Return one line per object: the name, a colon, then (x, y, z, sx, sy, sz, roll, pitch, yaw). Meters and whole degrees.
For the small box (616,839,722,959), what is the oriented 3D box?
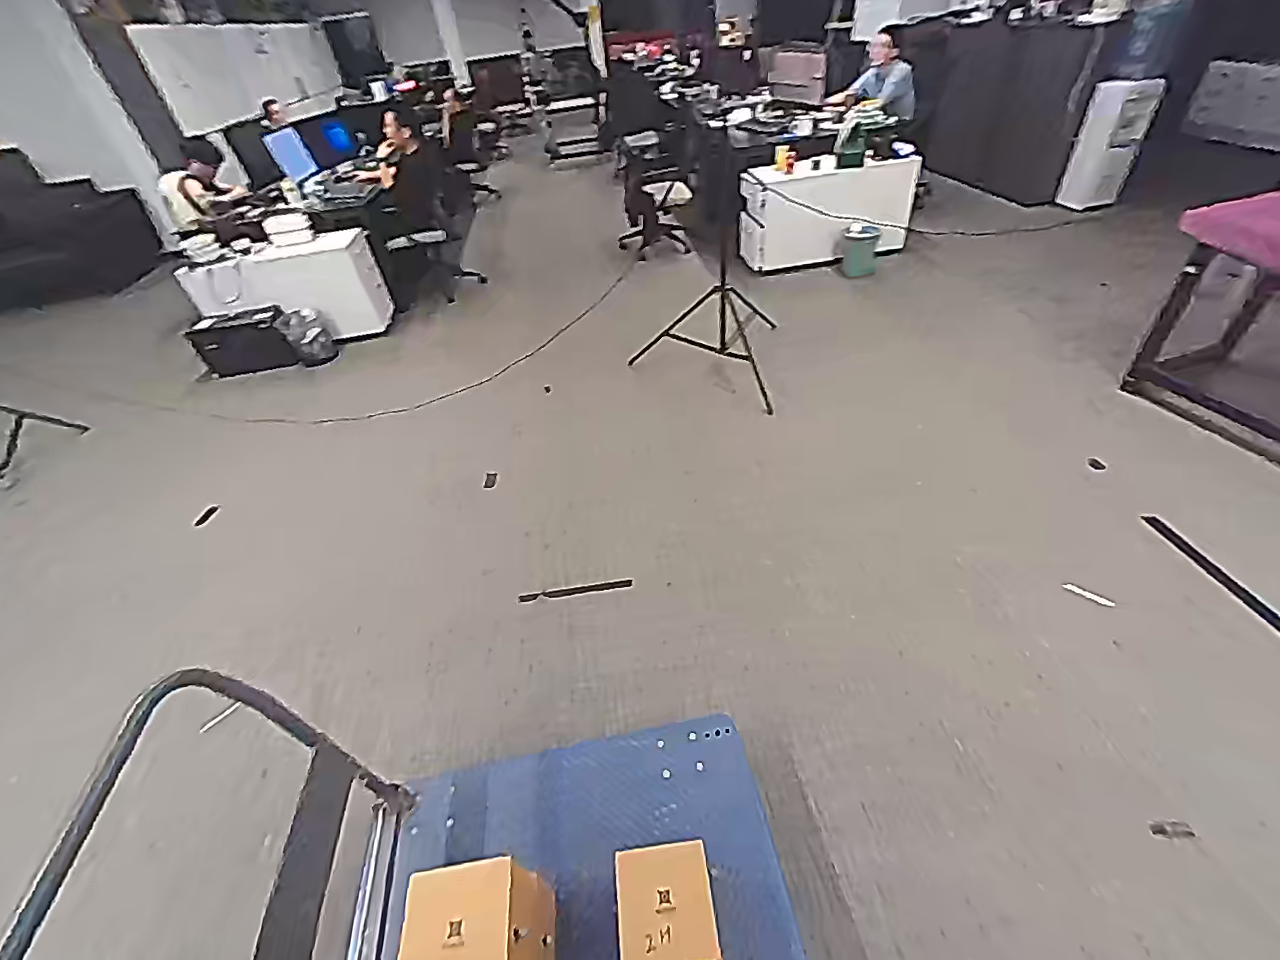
small box: (0.052, 0.788, 0.981, 0.168, 0.176, 0.179, -9, 41, 0)

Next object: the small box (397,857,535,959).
small box: (-0.265, 0.730, 0.850, 0.168, 0.176, 0.179, -10, 42, -2)
